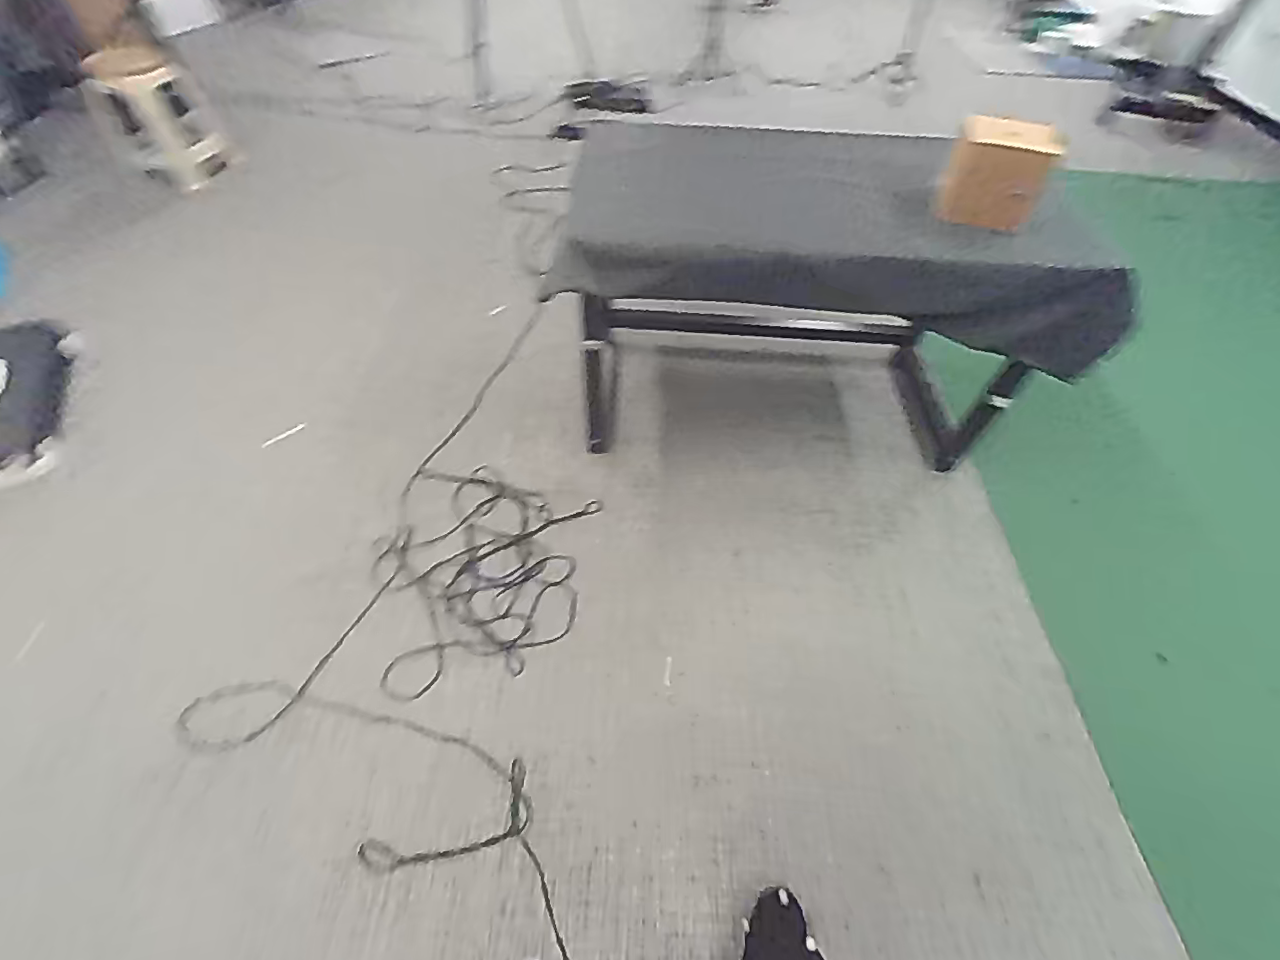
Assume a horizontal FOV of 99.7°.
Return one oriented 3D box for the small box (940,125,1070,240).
[{"bbox_3d":[0.804,-0.662,1.211,0.179,0.176,0.168,14,52,9],"label":"small box"}]
